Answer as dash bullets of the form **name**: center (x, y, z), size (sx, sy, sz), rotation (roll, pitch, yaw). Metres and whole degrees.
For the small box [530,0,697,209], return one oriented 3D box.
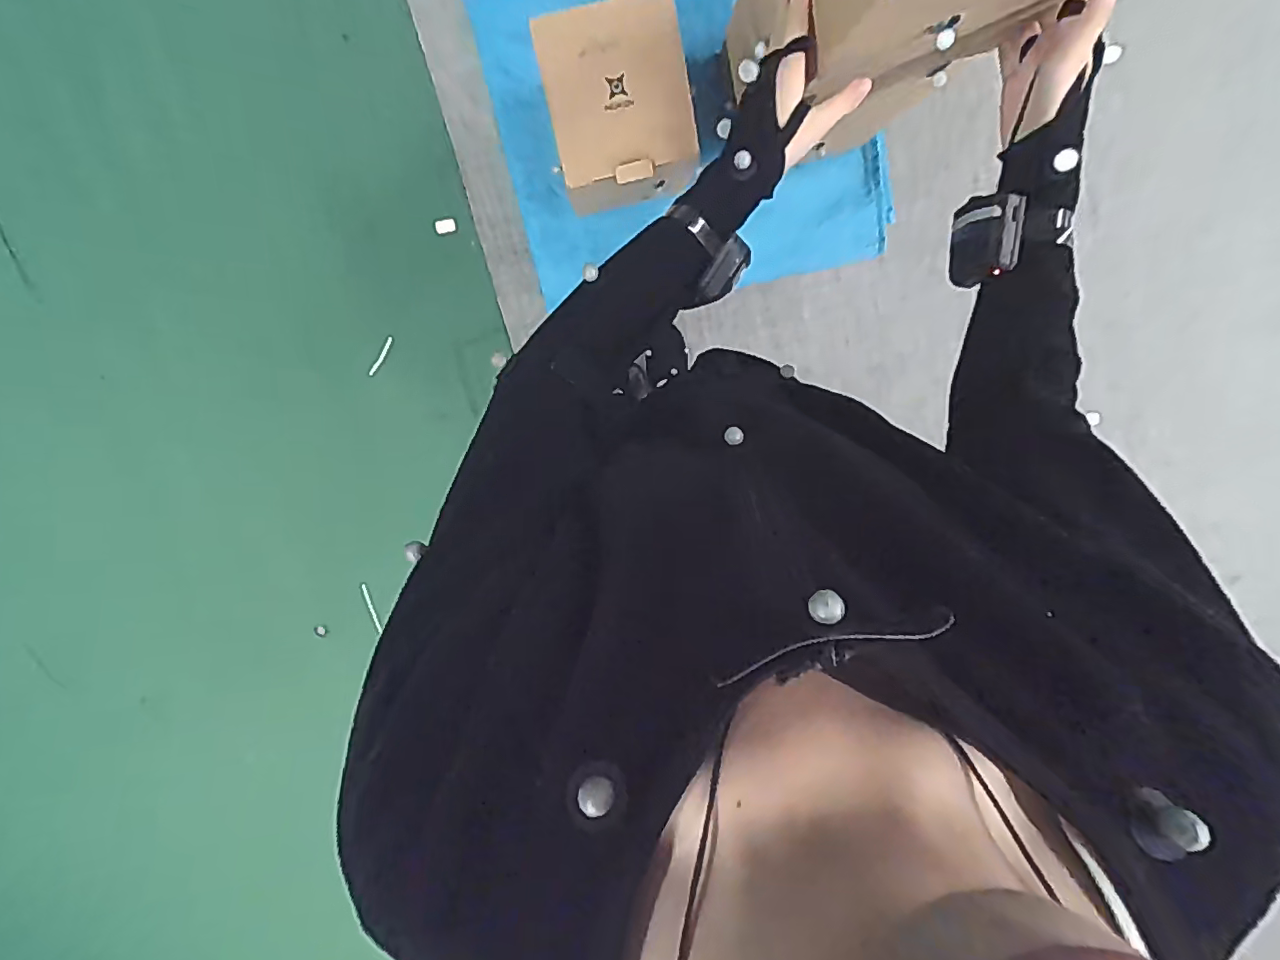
- **small box**: center (-0.029, -0.462, 0.689), size (0.168, 0.176, 0.179), rotation (-12, 105, 0)

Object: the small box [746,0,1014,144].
- **small box**: center (0.217, -0.460, 0.524), size (0.179, 0.176, 0.168), rotation (-14, 105, 3)

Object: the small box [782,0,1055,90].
- **small box**: center (0.201, -0.400, 0.361), size (0.179, 0.176, 0.168), rotation (-11, 107, 3)
